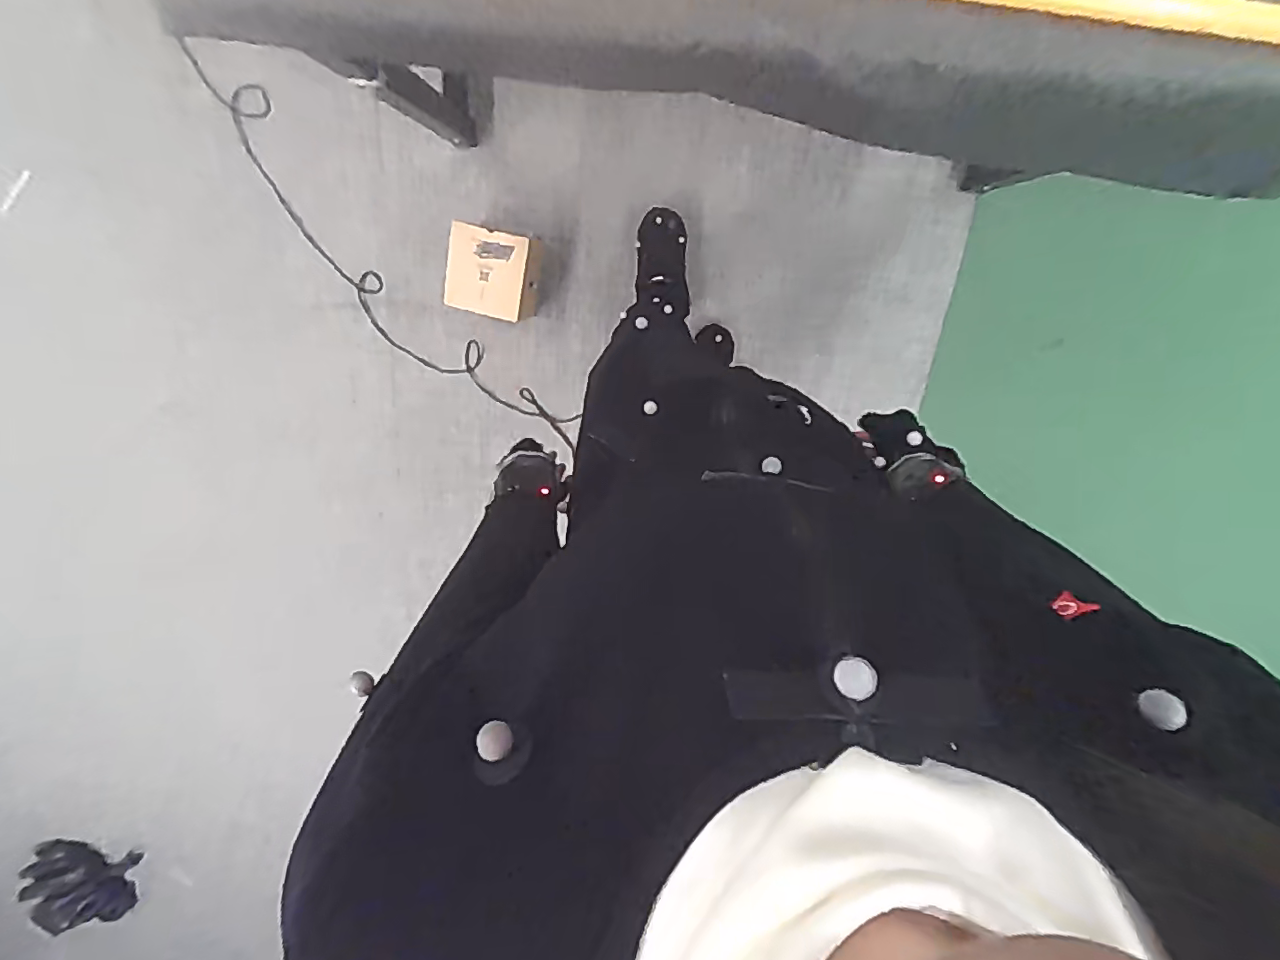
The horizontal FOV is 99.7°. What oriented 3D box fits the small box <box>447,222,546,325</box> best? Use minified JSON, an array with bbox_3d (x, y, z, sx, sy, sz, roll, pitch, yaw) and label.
[{"bbox_3d":[-0.319,-0.465,1.224,0.168,0.176,0.179,14,111,-2],"label":"small box"}]
